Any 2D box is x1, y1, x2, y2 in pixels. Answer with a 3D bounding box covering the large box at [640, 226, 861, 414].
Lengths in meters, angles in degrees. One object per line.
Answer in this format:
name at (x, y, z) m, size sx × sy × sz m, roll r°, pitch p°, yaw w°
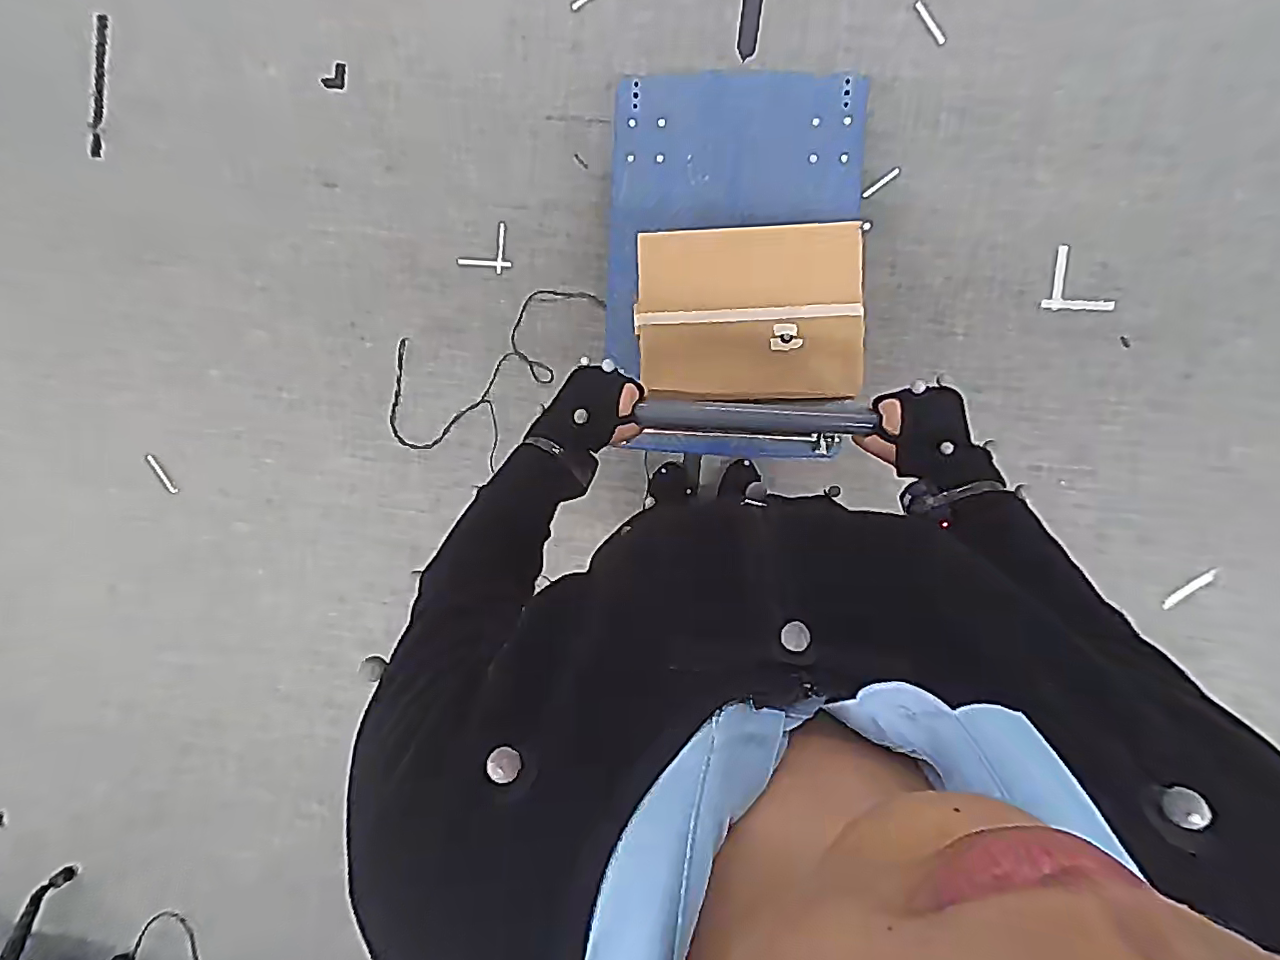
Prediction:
large box at (0.213, -0.310, 1.147) m, size 0.408 × 0.320 × 0.320 m, roll -1°, pitch 95°, yaw 4°
